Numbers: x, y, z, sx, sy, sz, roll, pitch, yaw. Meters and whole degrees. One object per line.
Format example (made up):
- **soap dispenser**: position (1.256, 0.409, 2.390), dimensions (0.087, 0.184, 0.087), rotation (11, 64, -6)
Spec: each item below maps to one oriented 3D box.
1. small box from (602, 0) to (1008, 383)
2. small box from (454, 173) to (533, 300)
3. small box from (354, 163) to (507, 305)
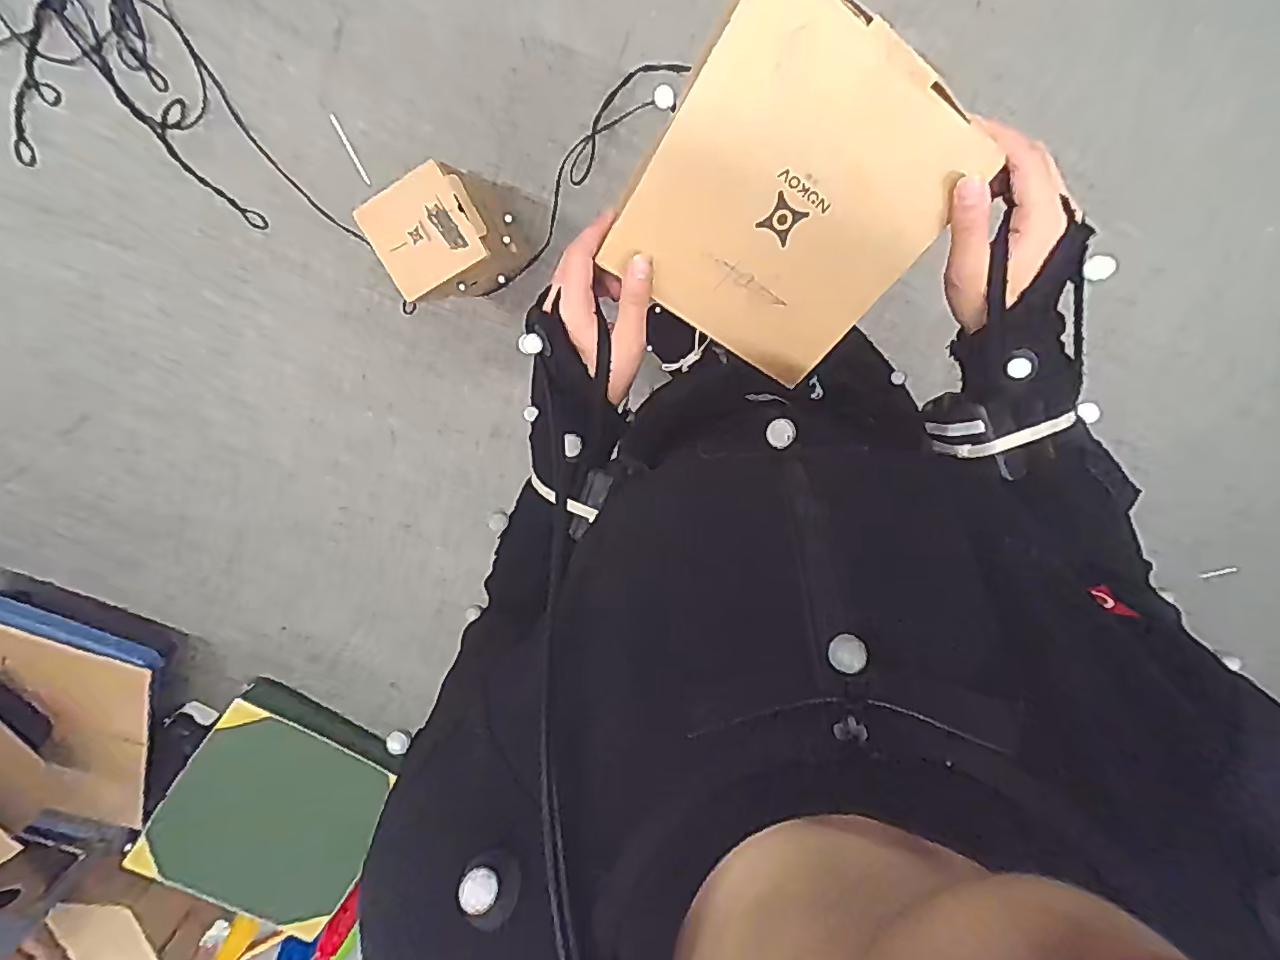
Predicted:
- **small box**: position (0.092, -0.209, 0.376), dimensions (0.168, 0.176, 0.179), rotation (28, 126, -15)
- **small box**: position (-0.347, -0.502, 1.128), dimensions (0.168, 0.176, 0.179), rotation (-30, 107, 13)
- **small box**: position (-0.360, -0.435, 0.977), dimensions (0.179, 0.176, 0.168), rotation (-25, 107, 12)
